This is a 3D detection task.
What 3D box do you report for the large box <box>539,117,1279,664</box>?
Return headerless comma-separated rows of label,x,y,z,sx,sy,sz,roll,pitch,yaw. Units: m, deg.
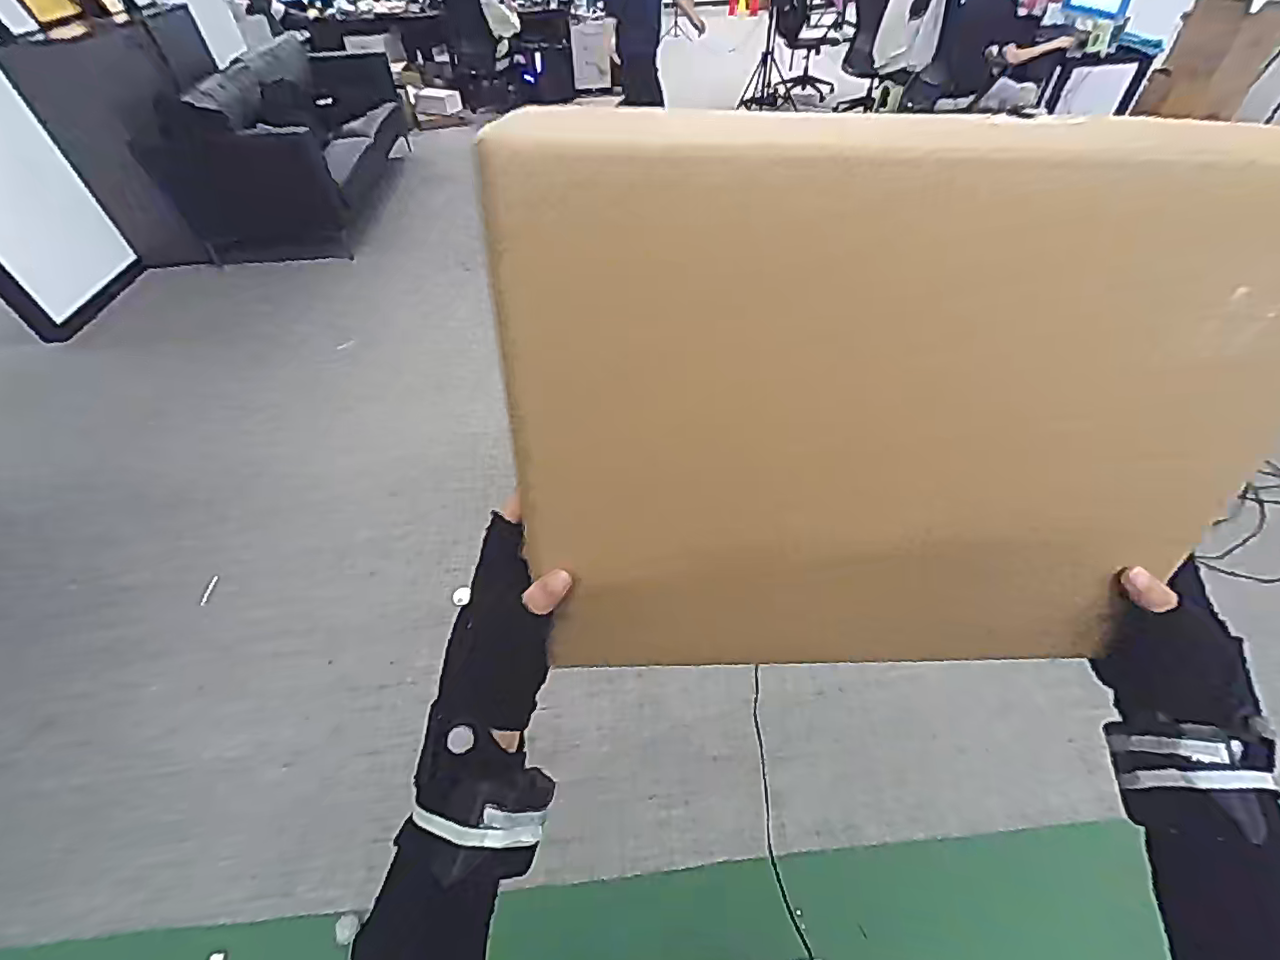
large box,0.140,-0.083,0.419,0.408,0.320,0.320,0,35,-4
